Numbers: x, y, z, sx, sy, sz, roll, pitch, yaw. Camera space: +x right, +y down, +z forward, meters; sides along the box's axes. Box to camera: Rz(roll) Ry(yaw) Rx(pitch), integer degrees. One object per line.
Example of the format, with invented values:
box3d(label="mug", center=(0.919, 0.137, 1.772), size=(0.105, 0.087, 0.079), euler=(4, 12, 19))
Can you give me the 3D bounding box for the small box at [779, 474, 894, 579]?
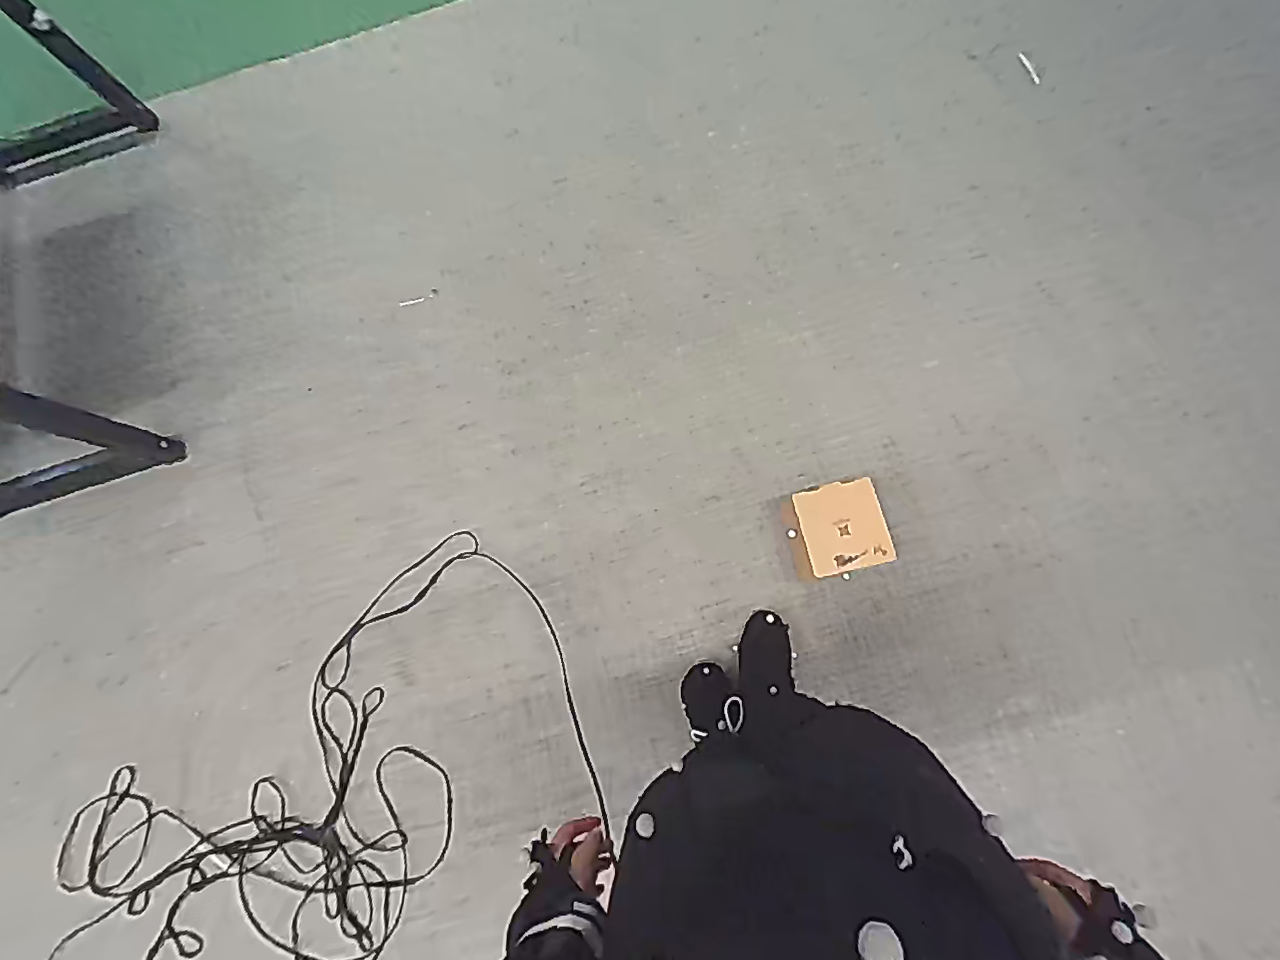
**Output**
box3d(label="small box", center=(0.407, 0.106, 1.155), size=(0.168, 0.176, 0.179), euler=(-14, 76, 2))
